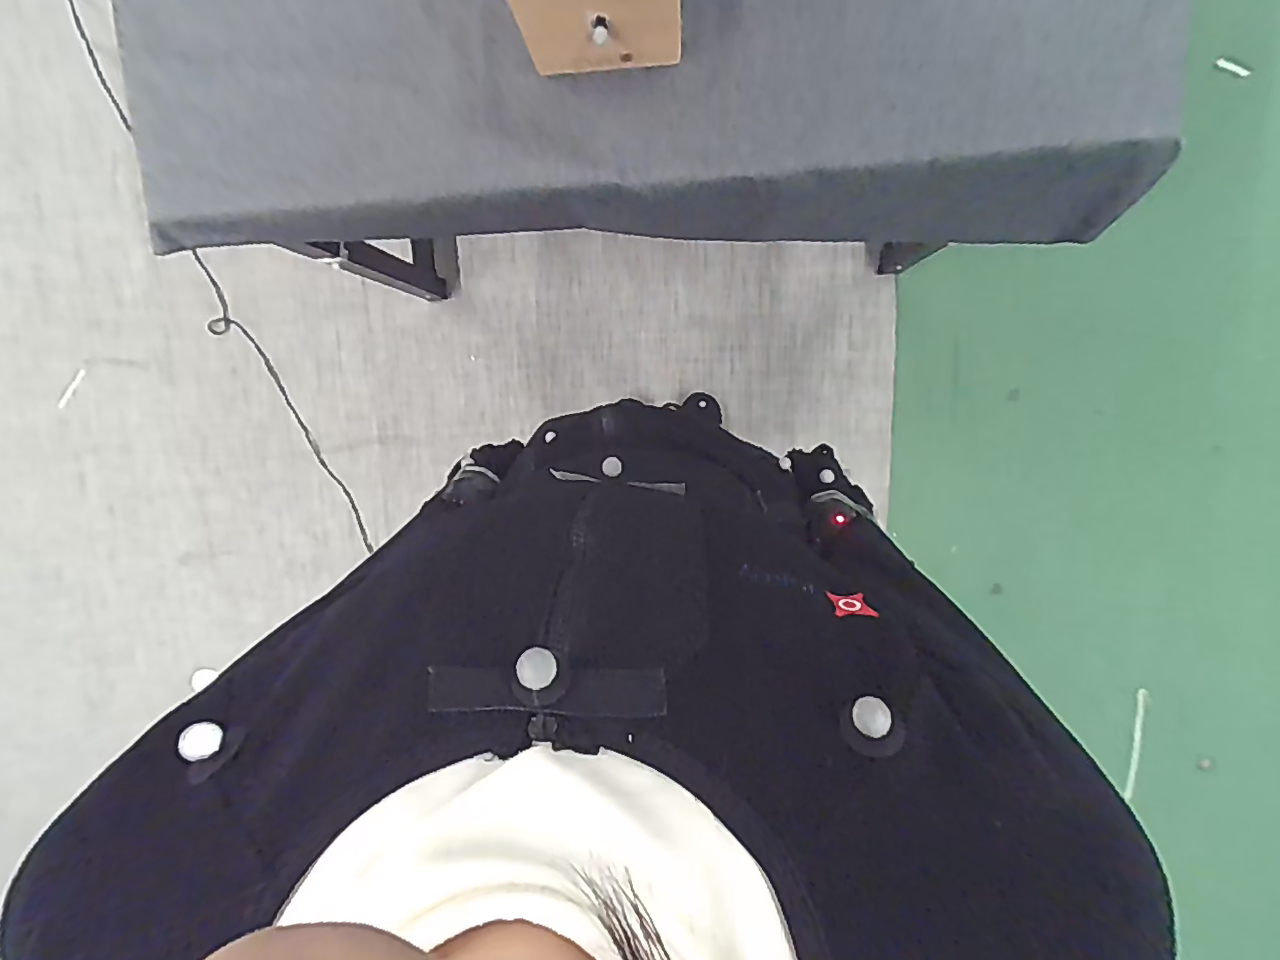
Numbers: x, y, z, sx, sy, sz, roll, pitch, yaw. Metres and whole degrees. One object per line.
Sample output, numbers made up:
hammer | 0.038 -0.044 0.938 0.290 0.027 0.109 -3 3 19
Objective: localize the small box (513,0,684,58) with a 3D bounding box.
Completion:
small box | -0.044 -0.548 0.523 0.168 0.176 0.179 -2 100 6
